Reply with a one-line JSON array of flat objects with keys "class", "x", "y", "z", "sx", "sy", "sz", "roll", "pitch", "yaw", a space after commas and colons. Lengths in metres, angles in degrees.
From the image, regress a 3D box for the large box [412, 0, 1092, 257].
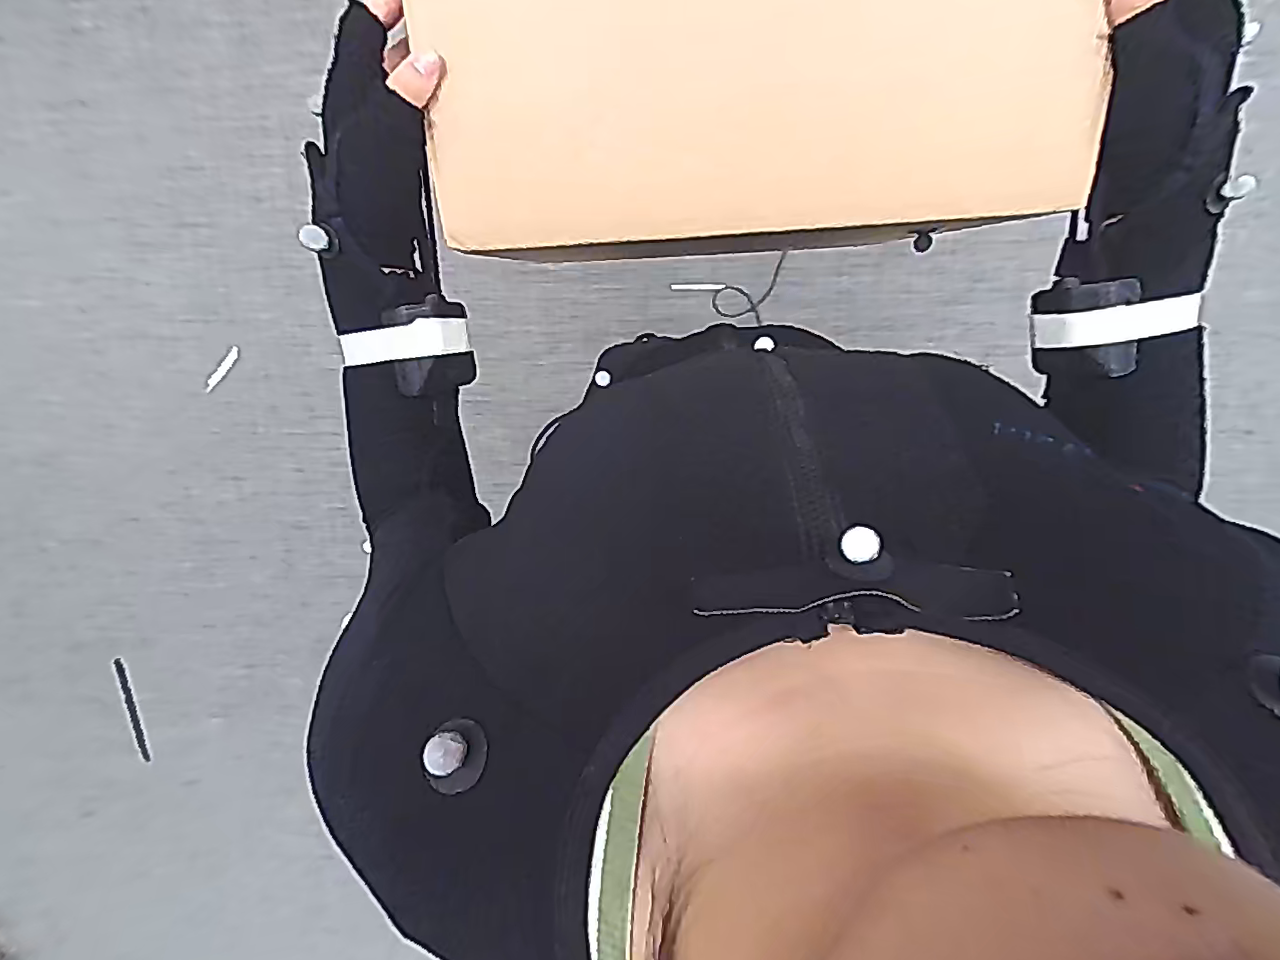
[{"class": "large box", "x": 0.066, "y": -0.362, "z": 0.441, "sx": 0.408, "sy": 0.320, "sz": 0.320, "roll": -3, "pitch": 110, "yaw": 1}]
